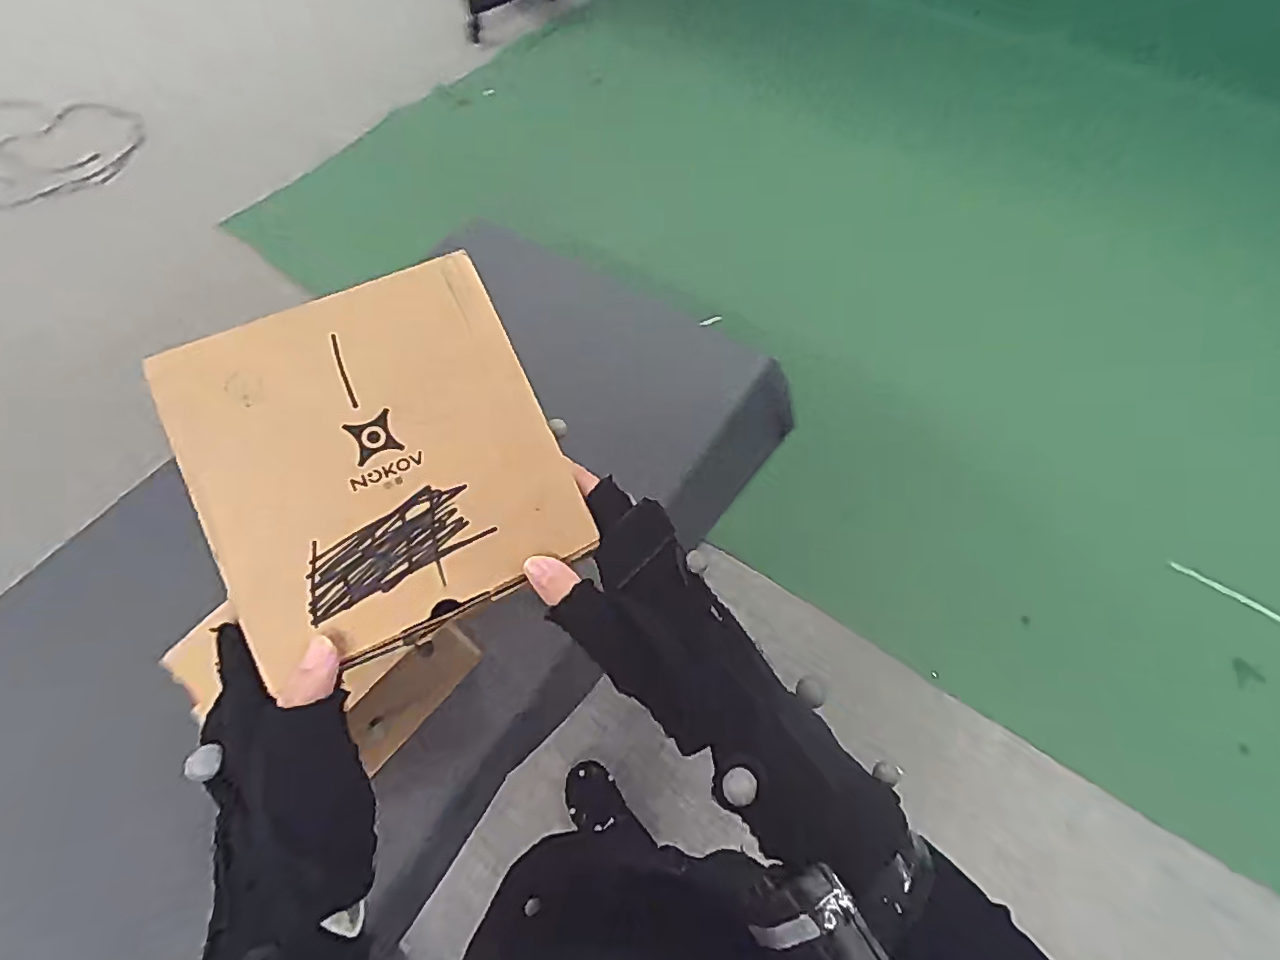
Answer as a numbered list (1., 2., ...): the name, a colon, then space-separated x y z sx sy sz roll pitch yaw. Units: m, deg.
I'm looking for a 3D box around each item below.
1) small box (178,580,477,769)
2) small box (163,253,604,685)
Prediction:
1. small box: -0.301 0.173 0.564 0.168 0.176 0.179 32 66 17
2. small box: -0.135 -0.003 0.353 0.168 0.176 0.179 -27 86 -10
